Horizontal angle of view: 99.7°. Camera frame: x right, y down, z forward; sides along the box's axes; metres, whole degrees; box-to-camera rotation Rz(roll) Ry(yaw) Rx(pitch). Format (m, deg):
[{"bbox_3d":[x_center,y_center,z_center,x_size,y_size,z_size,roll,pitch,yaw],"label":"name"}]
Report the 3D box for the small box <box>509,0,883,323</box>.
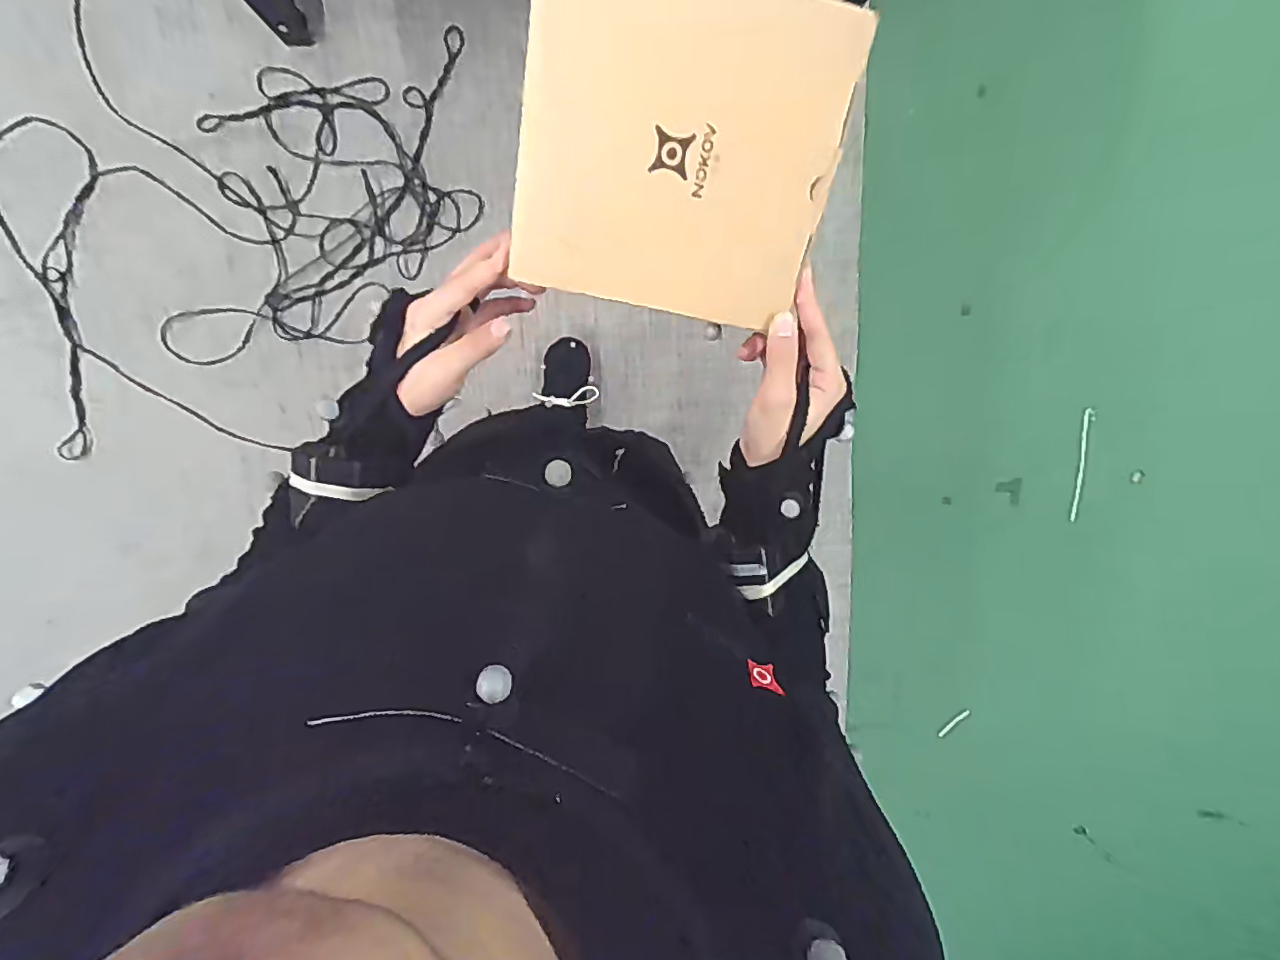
[{"bbox_3d":[0.020,-0.216,0.367,0.179,0.176,0.168,9,115,-8],"label":"small box"}]
